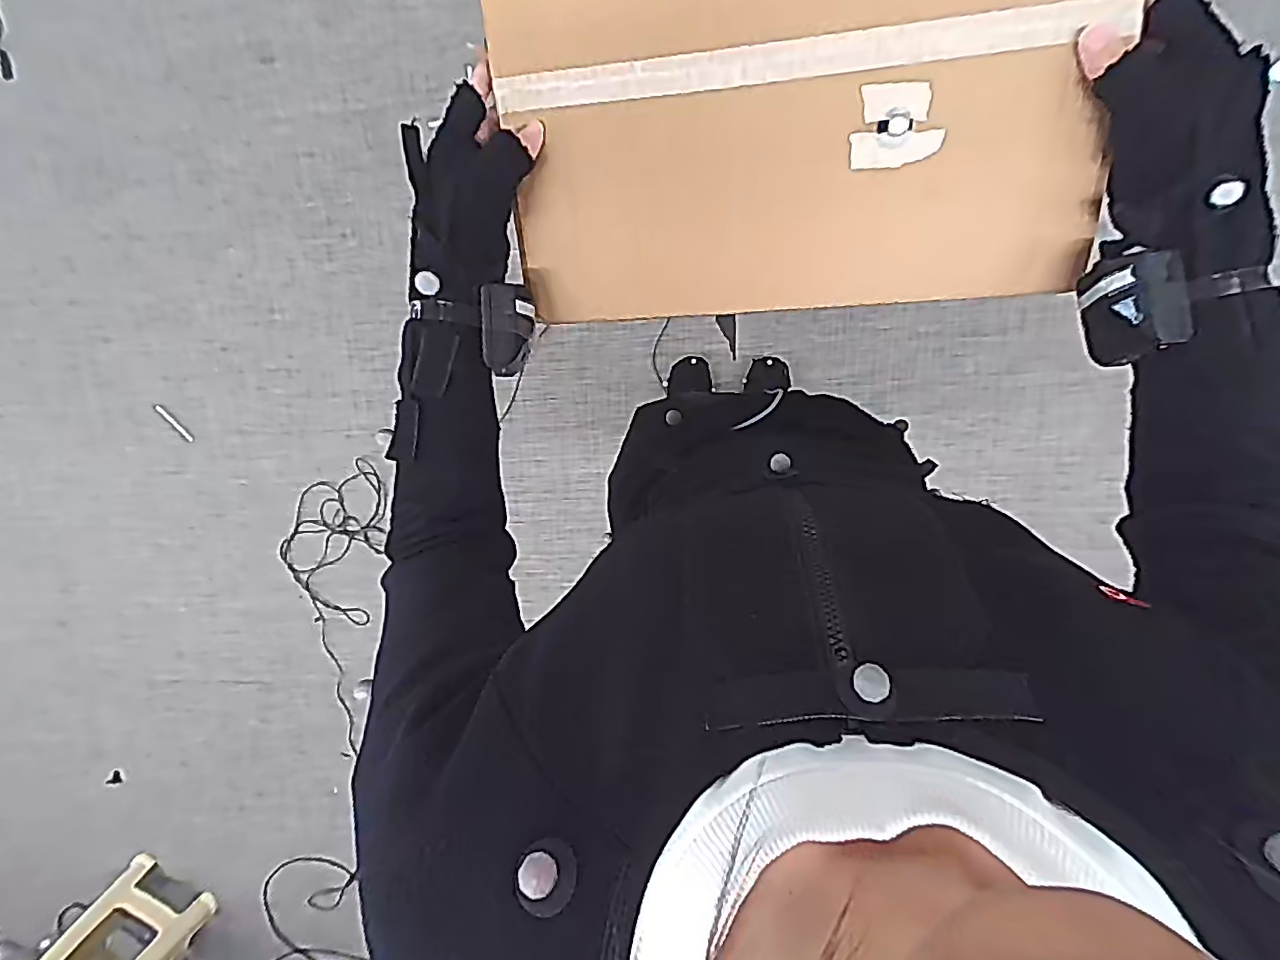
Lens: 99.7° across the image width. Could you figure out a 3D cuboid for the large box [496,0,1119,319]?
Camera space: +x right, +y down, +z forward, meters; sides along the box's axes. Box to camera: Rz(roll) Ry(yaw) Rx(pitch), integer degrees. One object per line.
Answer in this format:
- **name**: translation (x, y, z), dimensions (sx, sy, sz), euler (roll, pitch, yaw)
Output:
- **large box**: translation (0.117, -0.338, 0.502), dimensions (0.408, 0.320, 0.320), euler (-1, 113, 8)
